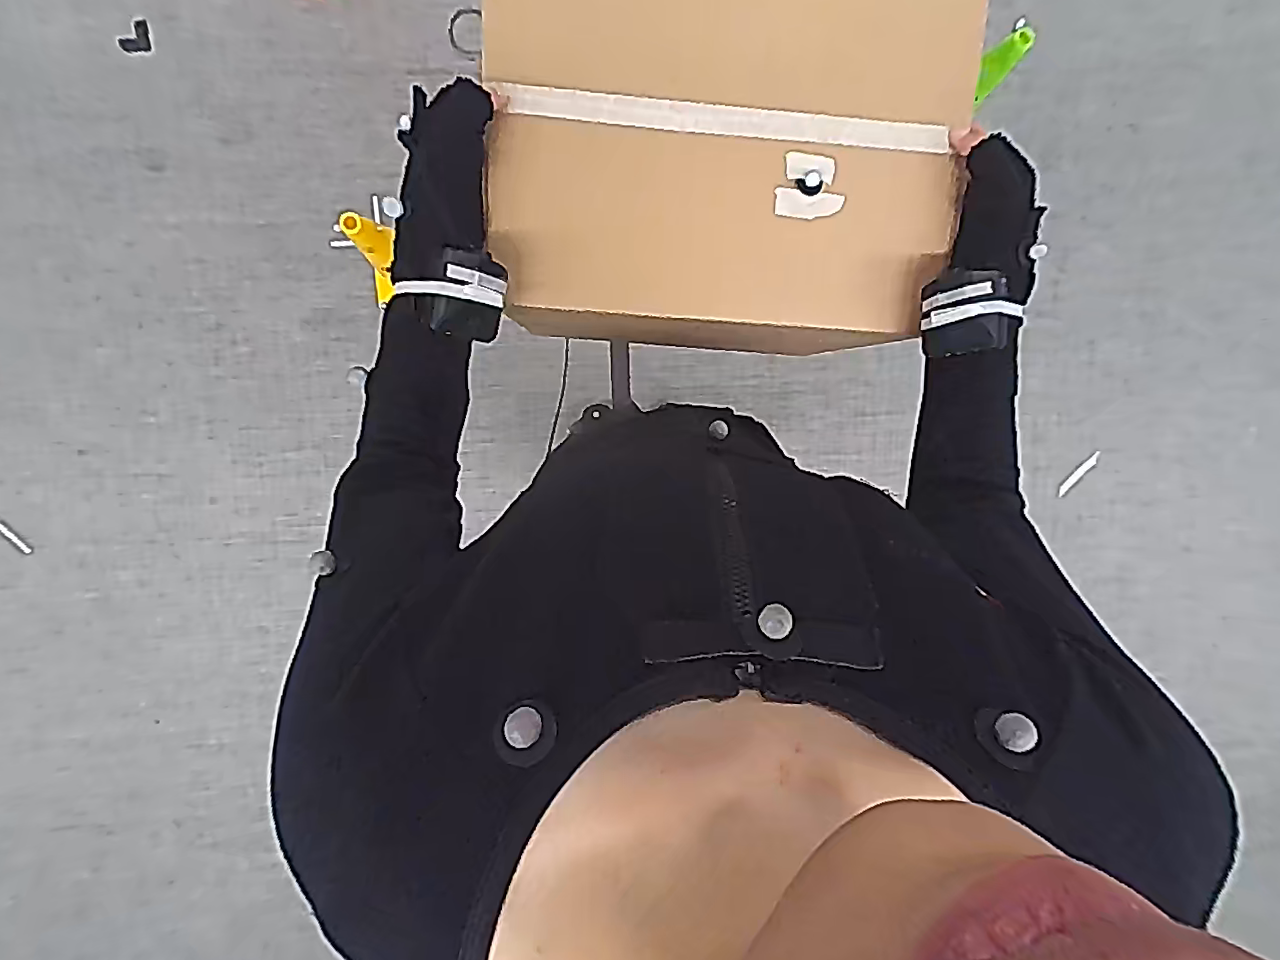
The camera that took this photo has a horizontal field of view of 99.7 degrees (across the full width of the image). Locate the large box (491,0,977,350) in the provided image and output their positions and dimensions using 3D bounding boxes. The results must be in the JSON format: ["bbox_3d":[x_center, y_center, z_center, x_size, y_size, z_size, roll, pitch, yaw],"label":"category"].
[{"bbox_3d":[0.064,-0.321,0.596,0.408,0.320,0.320,3,100,-5],"label":"large box"}]
